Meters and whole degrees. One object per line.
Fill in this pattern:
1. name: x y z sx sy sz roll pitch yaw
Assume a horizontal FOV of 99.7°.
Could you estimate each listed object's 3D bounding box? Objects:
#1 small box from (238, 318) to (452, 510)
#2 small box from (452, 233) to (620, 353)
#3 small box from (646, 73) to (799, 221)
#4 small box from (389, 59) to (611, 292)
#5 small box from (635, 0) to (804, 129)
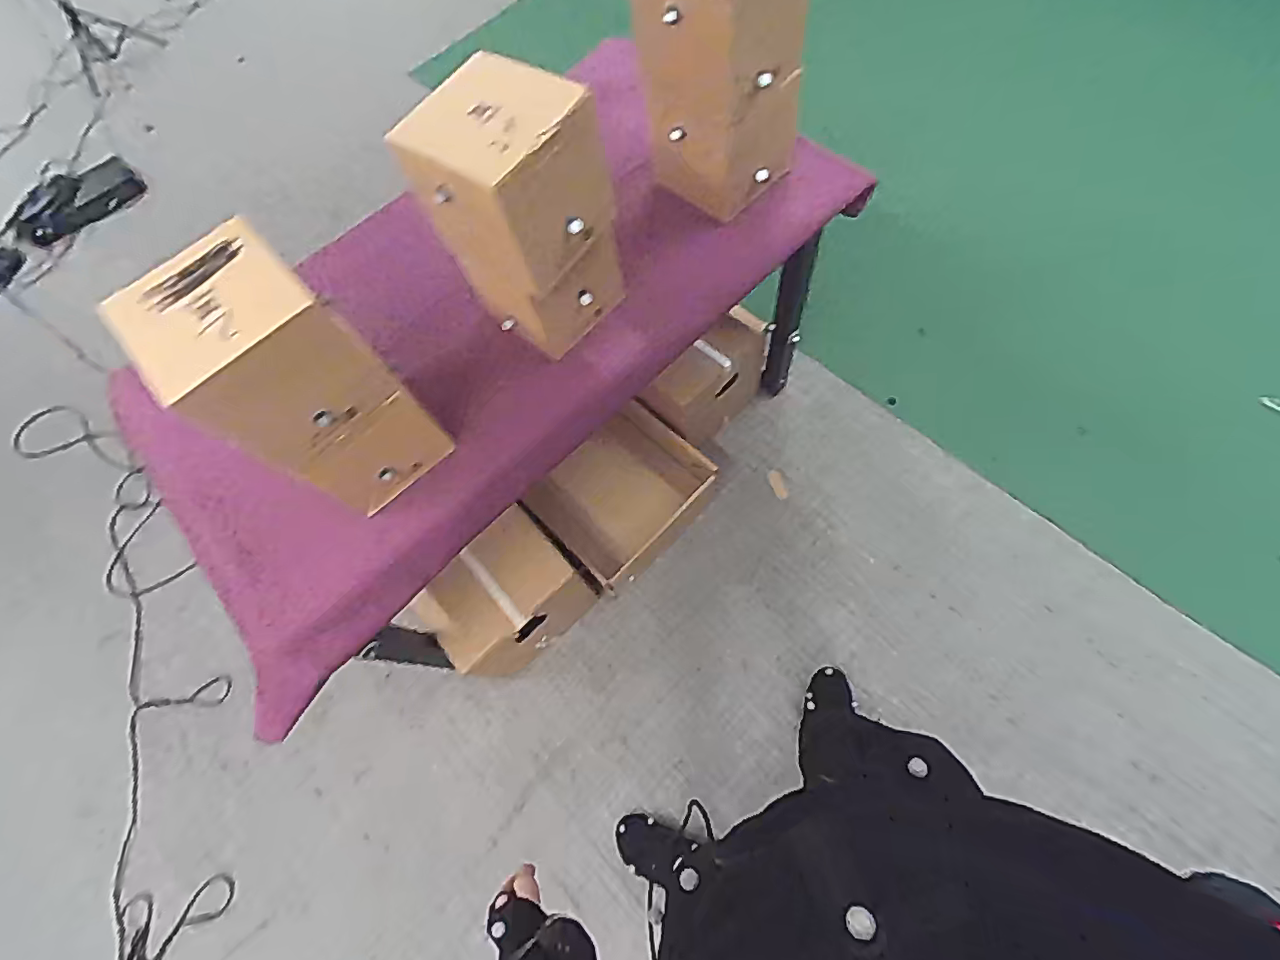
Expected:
1. small box: -0.406 -0.085 0.769 0.168 0.176 0.179 -41 69 -11
2. small box: -0.150 -0.324 0.833 0.179 0.176 0.168 39 77 20
3. small box: 0.134 -0.571 0.897 0.168 0.176 0.179 -43 68 -10
4. small box: -0.160 -0.369 0.673 0.179 0.176 0.168 32 76 19
5. small box: 0.107 -0.631 0.749 0.179 0.176 0.168 40 79 21
